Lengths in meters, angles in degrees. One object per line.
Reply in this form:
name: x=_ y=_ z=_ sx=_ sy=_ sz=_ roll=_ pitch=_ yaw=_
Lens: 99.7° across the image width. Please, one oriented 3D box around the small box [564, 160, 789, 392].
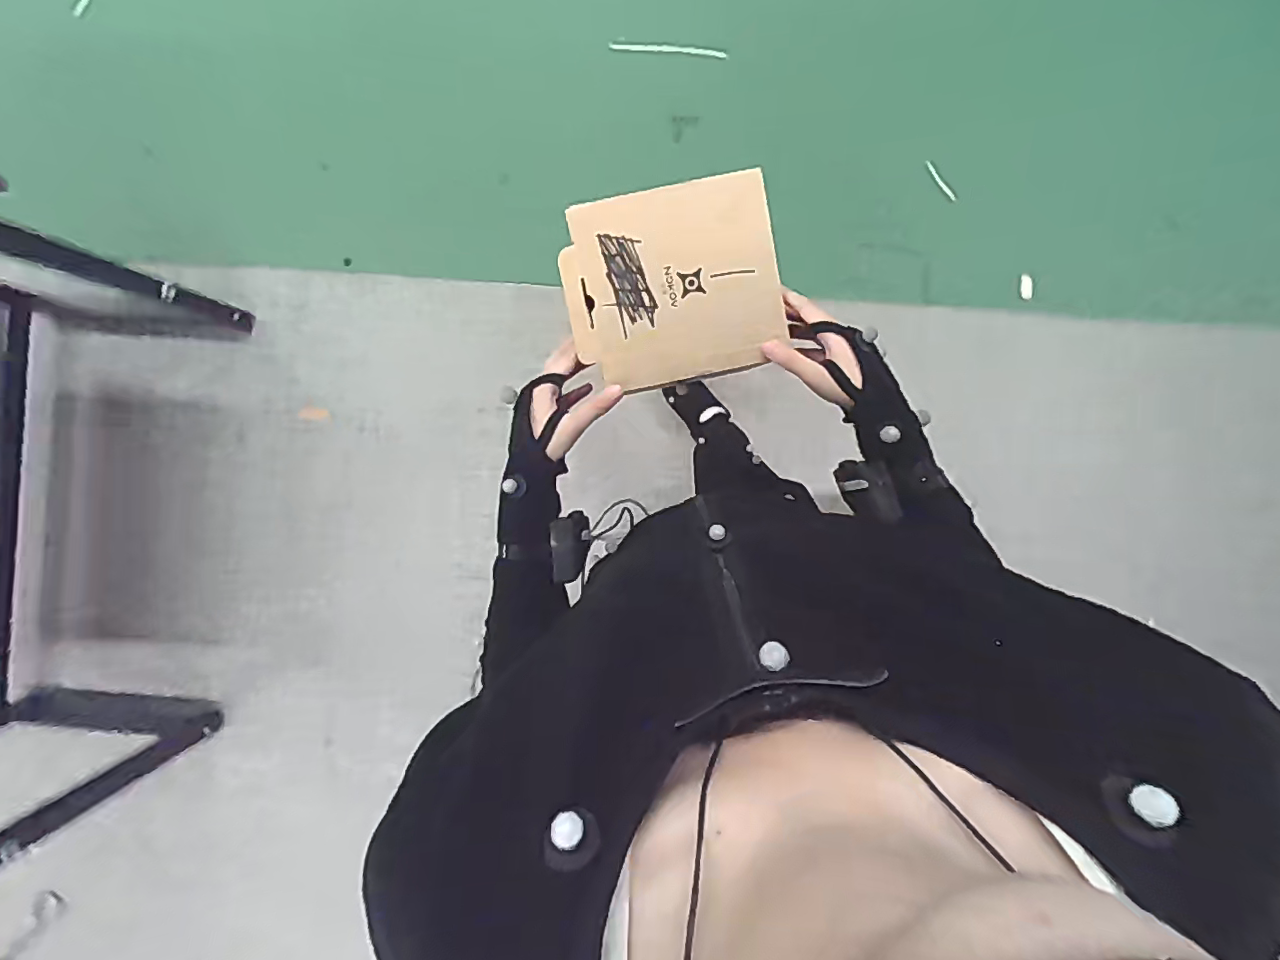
small box: x=0.034 y=-0.190 z=0.559 sx=0.179 sy=0.176 sz=0.168 roll=-13 pitch=97 yaw=1
